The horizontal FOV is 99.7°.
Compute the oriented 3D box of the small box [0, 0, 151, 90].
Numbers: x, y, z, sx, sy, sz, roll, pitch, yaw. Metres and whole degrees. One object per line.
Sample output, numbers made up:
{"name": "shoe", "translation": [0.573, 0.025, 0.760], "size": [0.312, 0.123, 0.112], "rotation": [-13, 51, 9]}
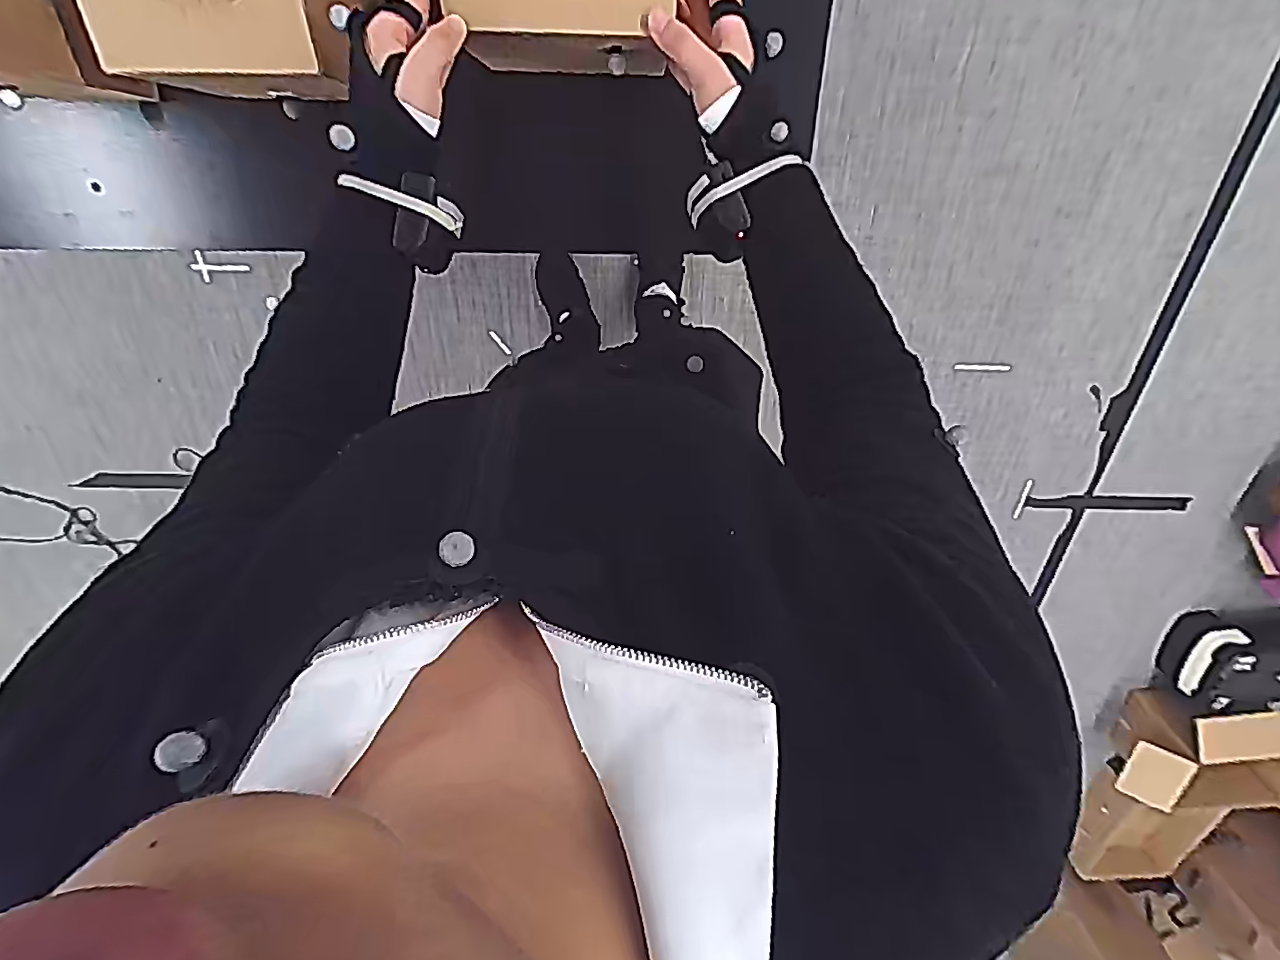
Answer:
{"name": "small box", "translation": [-0.559, -0.428, 0.433], "size": [0.168, 0.176, 0.179], "rotation": [0, 120, -3]}

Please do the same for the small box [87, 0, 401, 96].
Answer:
{"name": "small box", "translation": [-0.320, -0.431, 0.441], "size": [0.168, 0.176, 0.179], "rotation": [0, 120, 0]}
